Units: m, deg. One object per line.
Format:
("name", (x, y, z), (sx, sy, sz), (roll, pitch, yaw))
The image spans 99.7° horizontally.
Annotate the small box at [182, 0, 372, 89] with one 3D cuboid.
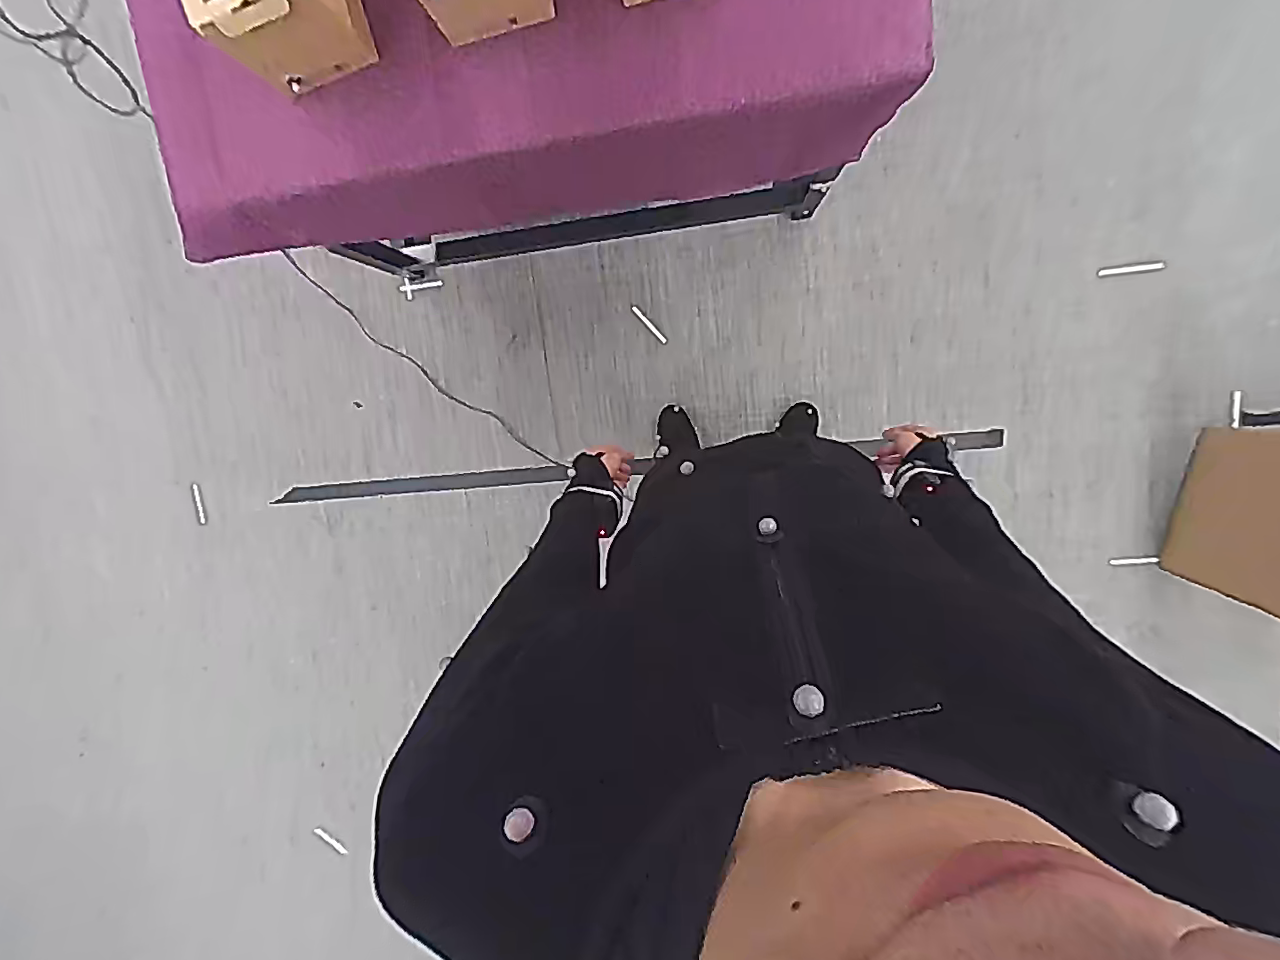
("small box", (-0.512, -0.690, 0.754), (0.168, 0.176, 0.179), (-15, 97, 8))
